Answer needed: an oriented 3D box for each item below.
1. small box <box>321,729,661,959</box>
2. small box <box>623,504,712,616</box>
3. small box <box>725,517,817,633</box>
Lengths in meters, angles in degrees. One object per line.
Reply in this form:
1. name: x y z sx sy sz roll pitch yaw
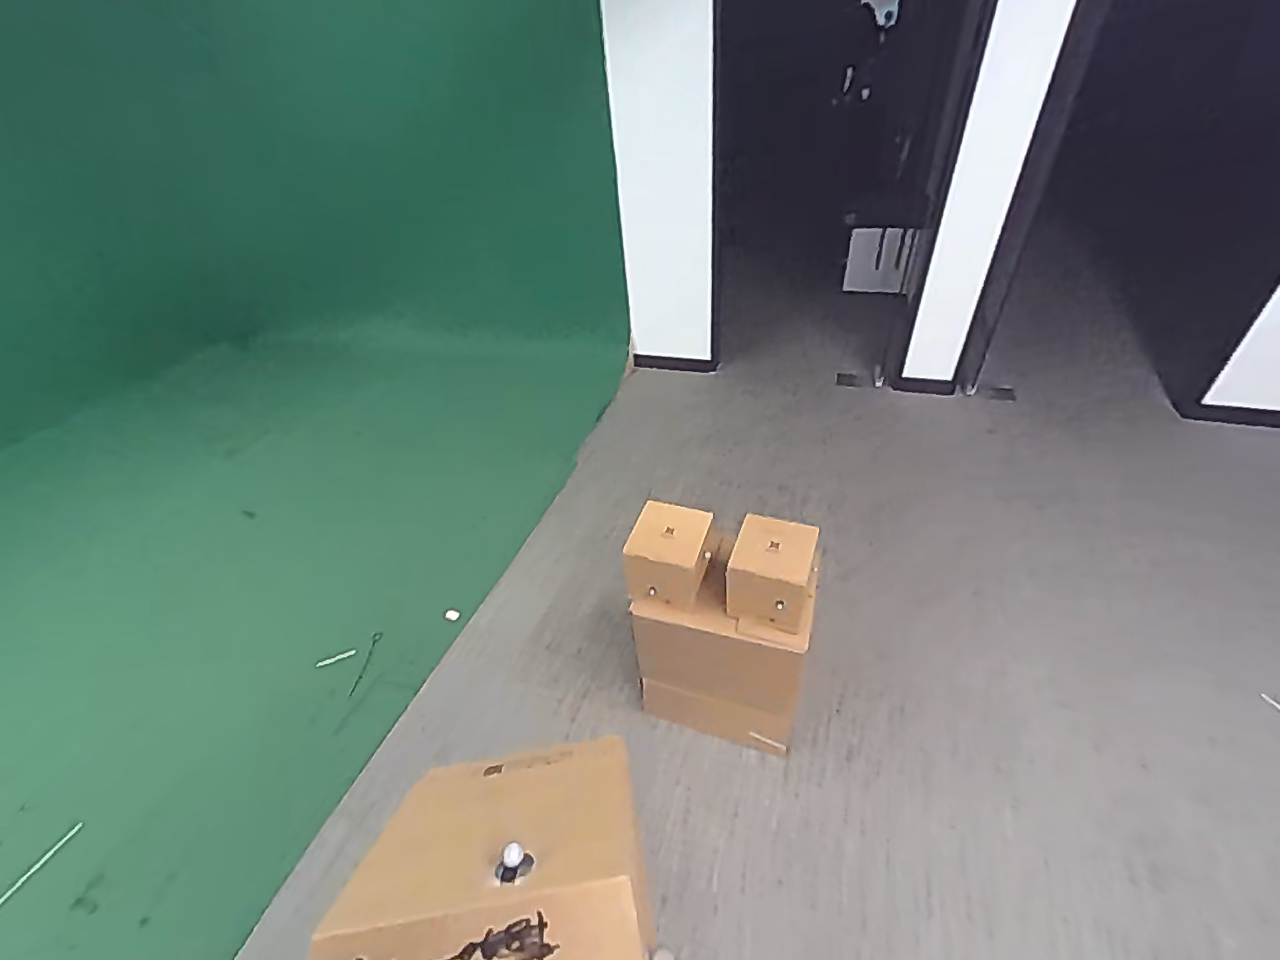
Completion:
1. small box: -0.074 0.298 0.359 0.168 0.179 0.176 -9 -1 -3
2. small box: 0.067 0.188 1.281 0.168 0.176 0.179 11 44 17
3. small box: 0.295 0.214 1.218 0.168 0.176 0.179 10 41 21
